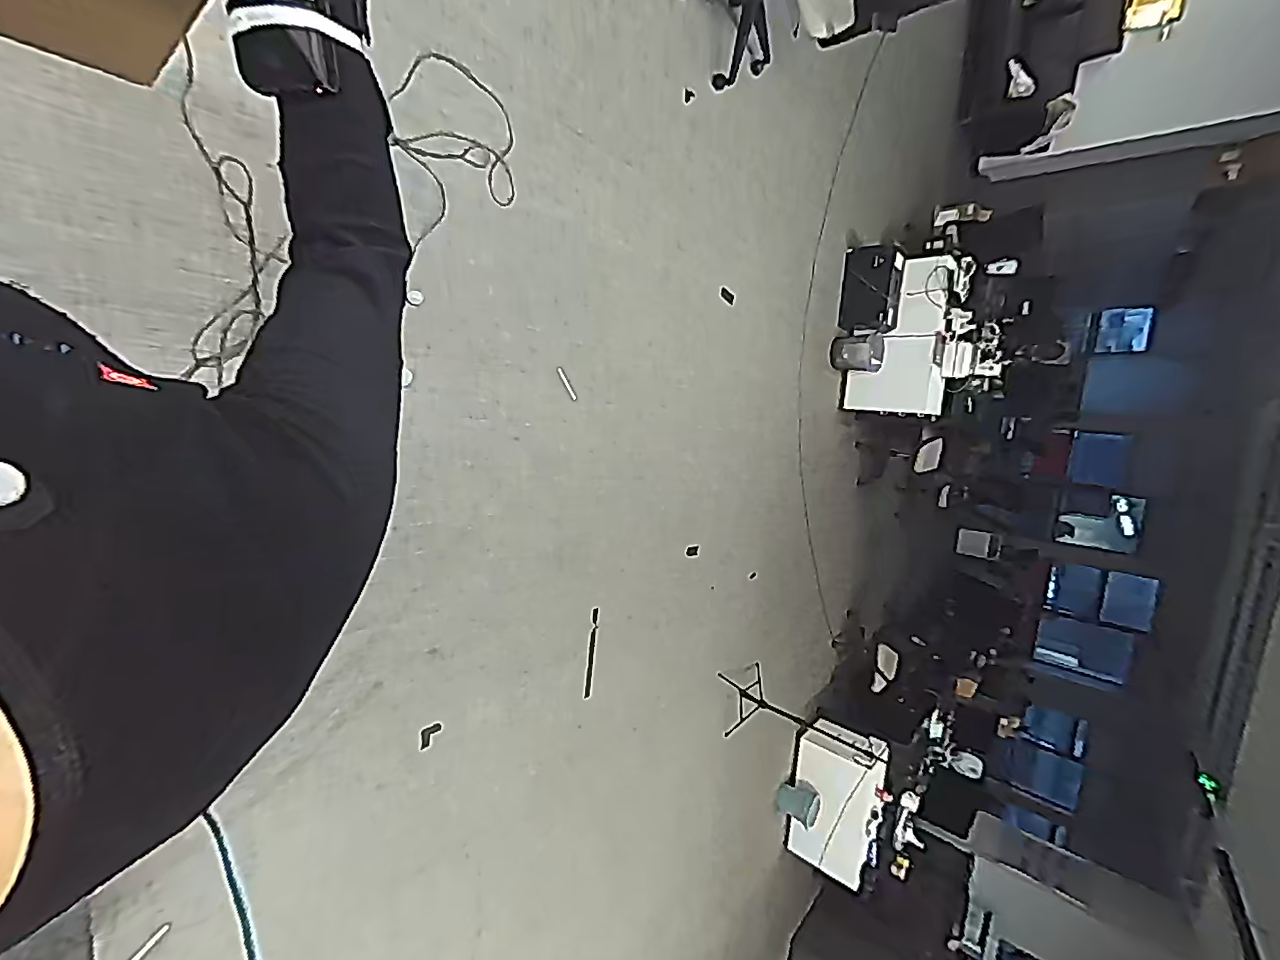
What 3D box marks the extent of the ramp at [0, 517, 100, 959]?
[{"bbox_3d":[-1.261,0.581,0.886,0.509,0.206,0.991,-7,103,-48],"label":"ramp"}]
